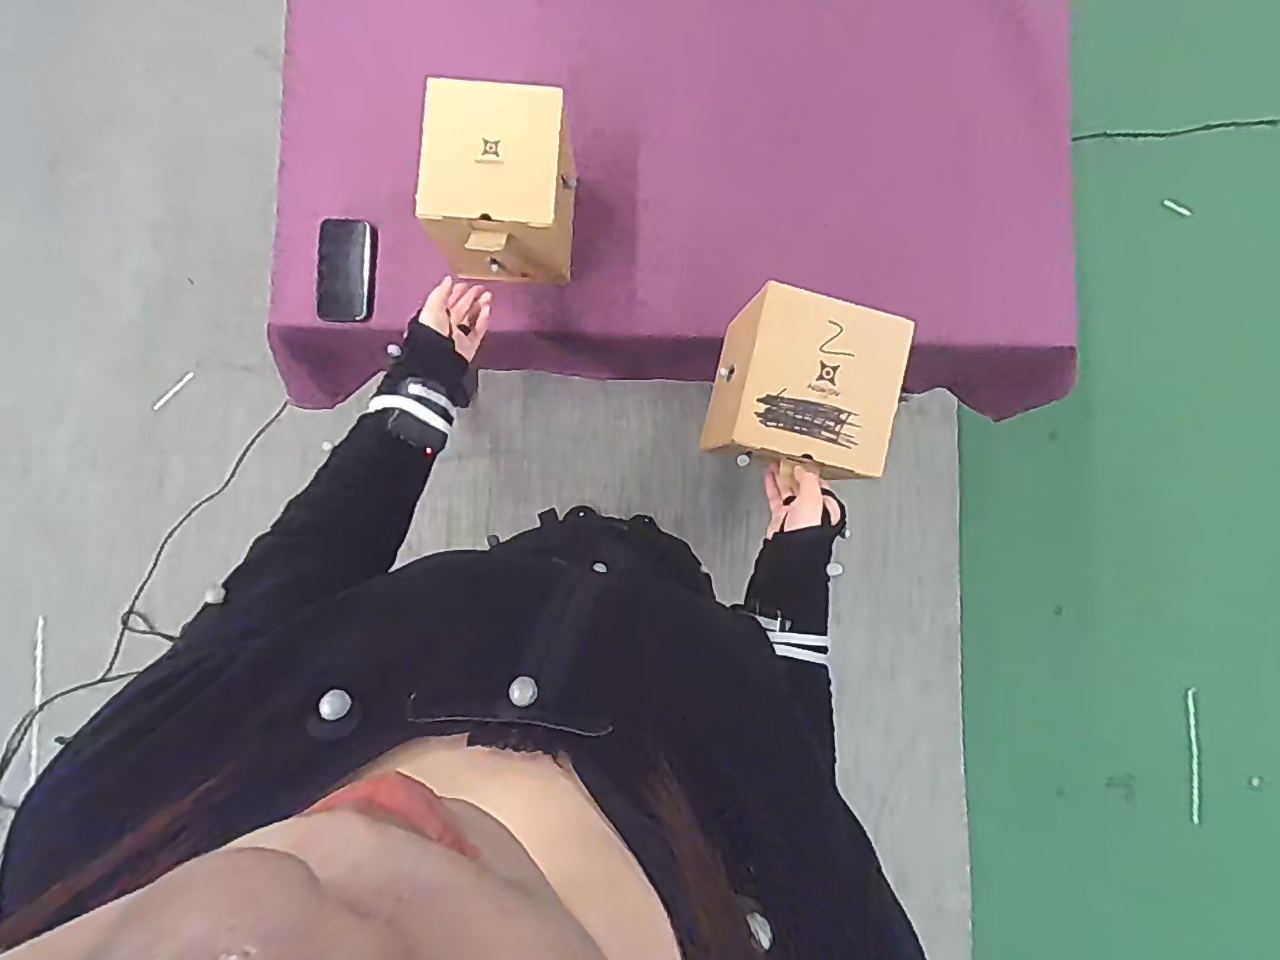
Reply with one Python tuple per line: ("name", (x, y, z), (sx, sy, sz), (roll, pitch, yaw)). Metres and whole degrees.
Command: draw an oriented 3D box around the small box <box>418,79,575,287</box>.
("small box", (-0.179, -0.385, 0.728), (0.168, 0.176, 0.179), (4, 87, -3))
